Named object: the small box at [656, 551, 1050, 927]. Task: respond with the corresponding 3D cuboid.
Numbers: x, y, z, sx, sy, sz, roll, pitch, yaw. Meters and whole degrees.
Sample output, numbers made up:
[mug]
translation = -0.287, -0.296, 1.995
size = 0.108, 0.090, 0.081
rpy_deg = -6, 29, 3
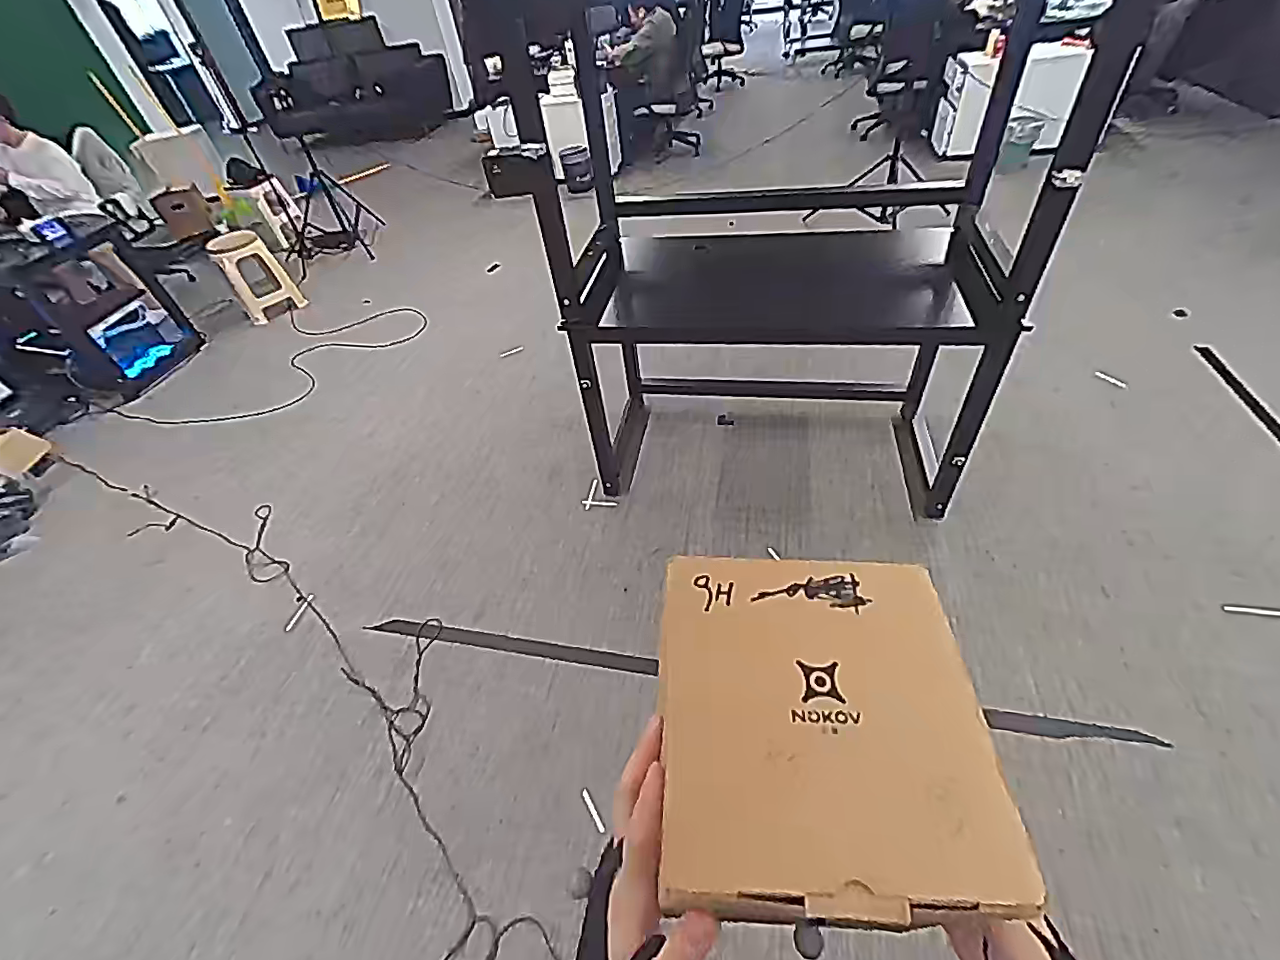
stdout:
[small box]
translation = 0.097, 0.166, 0.343
size = 0.168, 0.176, 0.179
rpy_deg = 3, 49, 1
